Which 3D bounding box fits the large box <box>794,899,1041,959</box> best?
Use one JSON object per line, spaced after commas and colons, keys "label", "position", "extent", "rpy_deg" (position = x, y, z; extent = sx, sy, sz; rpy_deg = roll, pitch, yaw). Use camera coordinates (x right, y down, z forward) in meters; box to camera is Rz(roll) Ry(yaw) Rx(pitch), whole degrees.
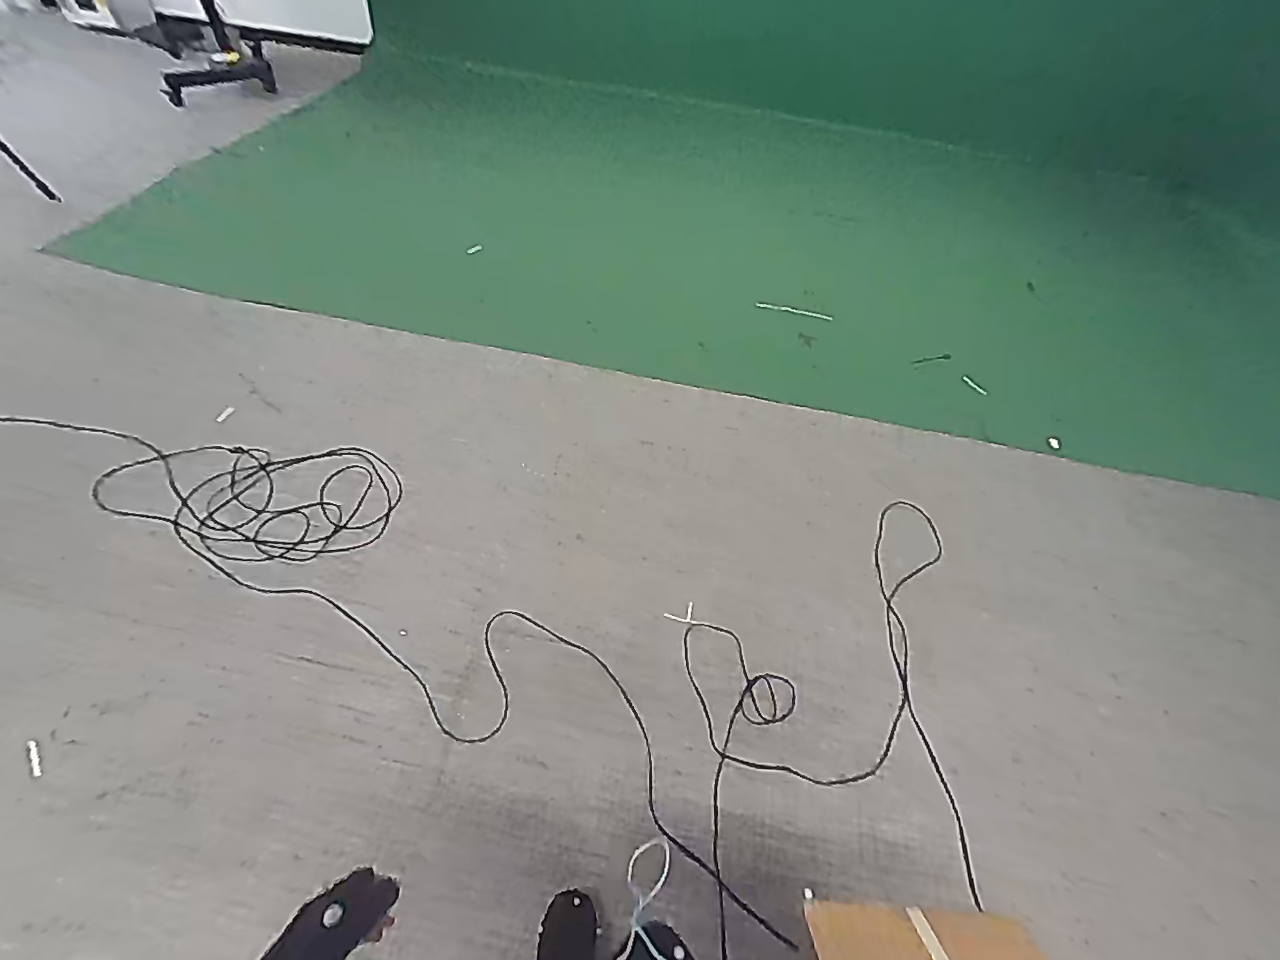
{"label": "large box", "position": [0.373, 0.790, 0.608], "extent": [0.320, 0.408, 0.320], "rpy_deg": [4, 96, 1]}
